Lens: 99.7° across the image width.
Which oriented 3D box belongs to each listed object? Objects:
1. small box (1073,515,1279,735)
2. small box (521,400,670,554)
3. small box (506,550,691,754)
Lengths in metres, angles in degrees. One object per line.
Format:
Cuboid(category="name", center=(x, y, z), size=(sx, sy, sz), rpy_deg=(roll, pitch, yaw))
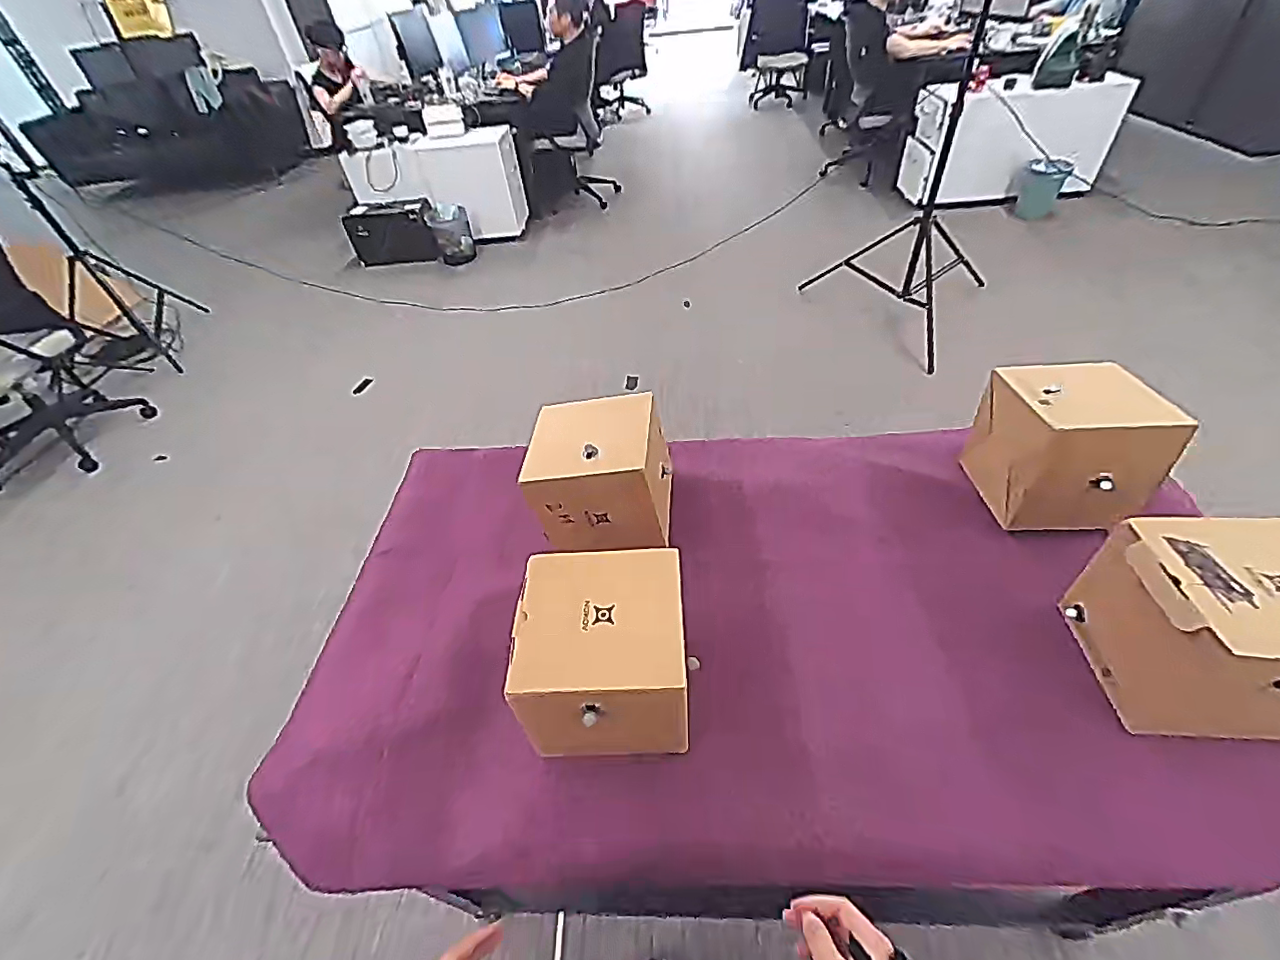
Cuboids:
Cuboid(category="small box", center=(0.609, 0.154, 0.574), size=(0.179, 0.176, 0.168), rpy_deg=(-1, 43, 6))
Cuboid(category="small box", center=(-0.053, -0.003, 0.803), size=(0.179, 0.168, 0.176), rpy_deg=(-6, 43, 12))
Cuboid(category="small box", center=(-0.034, 0.198, 0.616), size=(0.179, 0.176, 0.168), rpy_deg=(-4, 44, 4))
